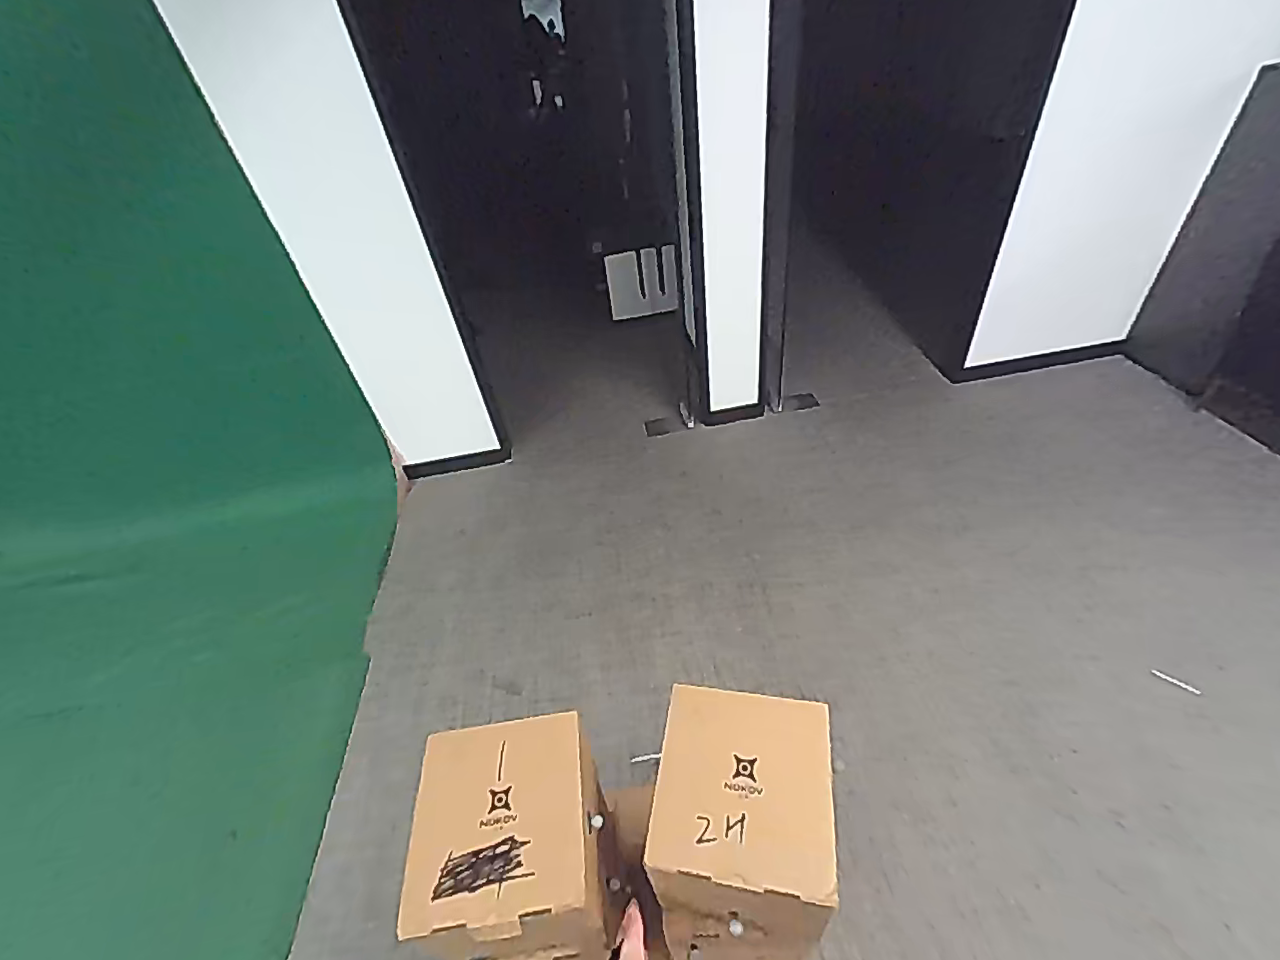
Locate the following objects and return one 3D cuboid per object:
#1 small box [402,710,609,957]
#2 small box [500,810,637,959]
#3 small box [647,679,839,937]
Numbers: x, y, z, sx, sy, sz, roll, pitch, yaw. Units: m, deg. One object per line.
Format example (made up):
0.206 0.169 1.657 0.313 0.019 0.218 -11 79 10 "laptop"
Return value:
-0.128 0.379 0.578 0.168 0.176 0.179 -8 41 -3 "small box"
-0.098 0.620 0.798 0.168 0.176 0.179 -7 41 -1 "small box"
0.111 0.341 0.571 0.168 0.176 0.179 2 42 14 "small box"
